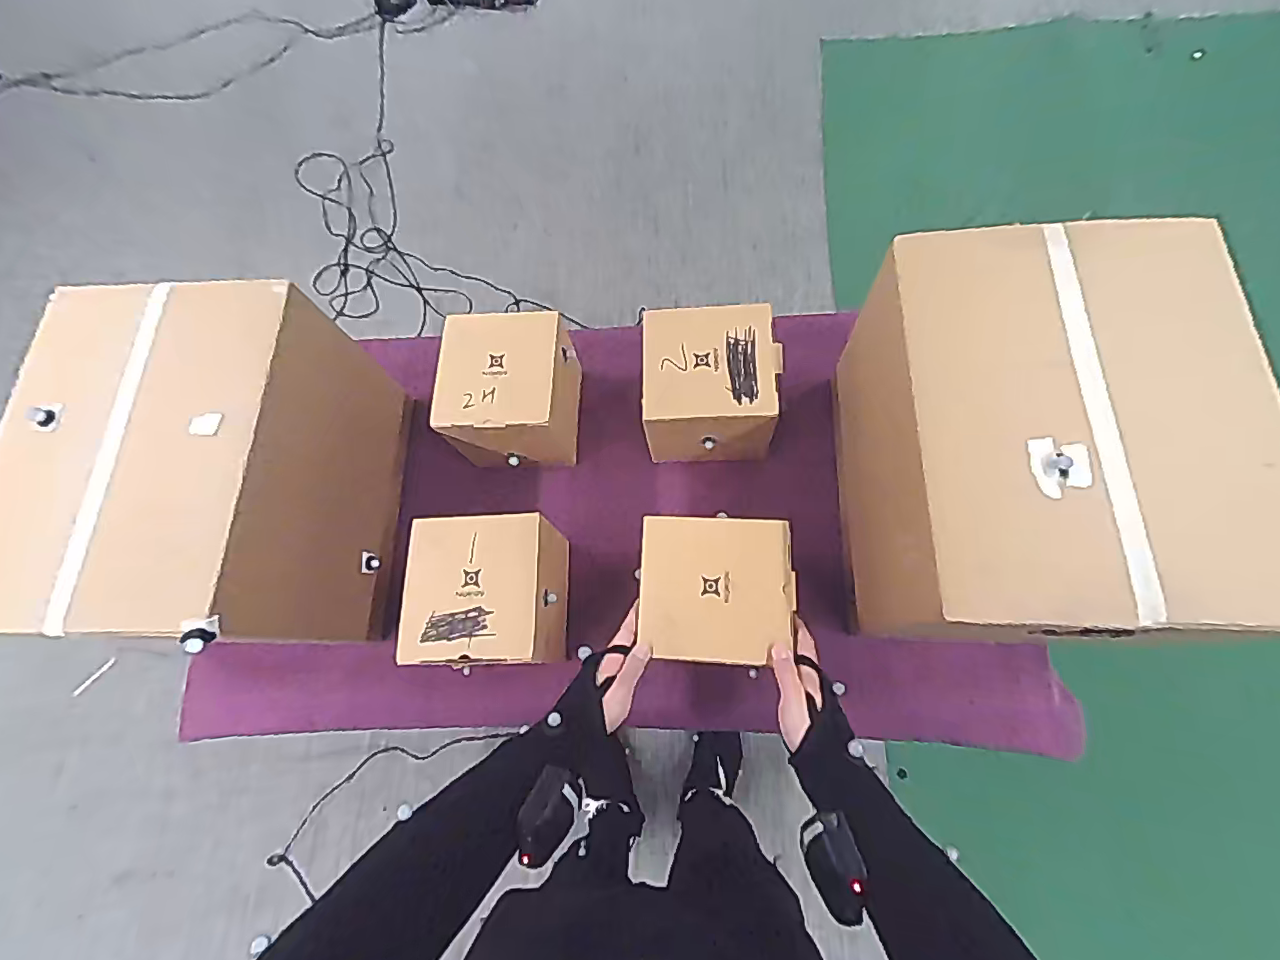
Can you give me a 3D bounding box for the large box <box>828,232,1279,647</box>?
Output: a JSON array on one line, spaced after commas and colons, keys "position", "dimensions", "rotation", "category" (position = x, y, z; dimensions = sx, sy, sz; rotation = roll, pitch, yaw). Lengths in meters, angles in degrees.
[{"position": [0.428, -0.019, 0.641], "dimensions": [0.320, 0.320, 0.408], "rotation": [0, 72, 7], "category": "large box"}]
